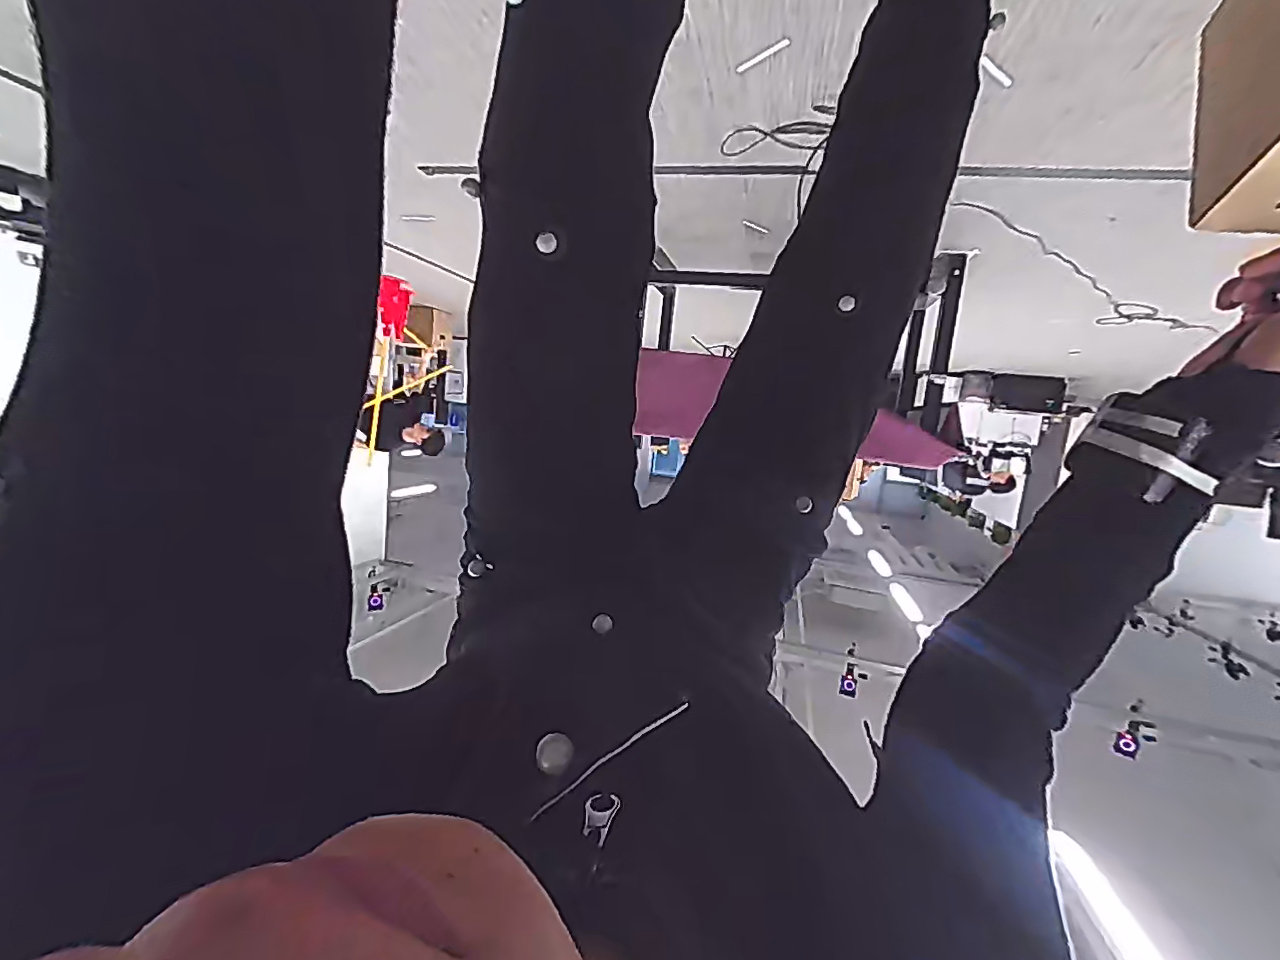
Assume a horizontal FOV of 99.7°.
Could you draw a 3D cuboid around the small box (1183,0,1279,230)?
[{"bbox_3d":[0.413,-0.241,0.248,0.168,0.176,0.179,12,166,17],"label":"small box"}]
